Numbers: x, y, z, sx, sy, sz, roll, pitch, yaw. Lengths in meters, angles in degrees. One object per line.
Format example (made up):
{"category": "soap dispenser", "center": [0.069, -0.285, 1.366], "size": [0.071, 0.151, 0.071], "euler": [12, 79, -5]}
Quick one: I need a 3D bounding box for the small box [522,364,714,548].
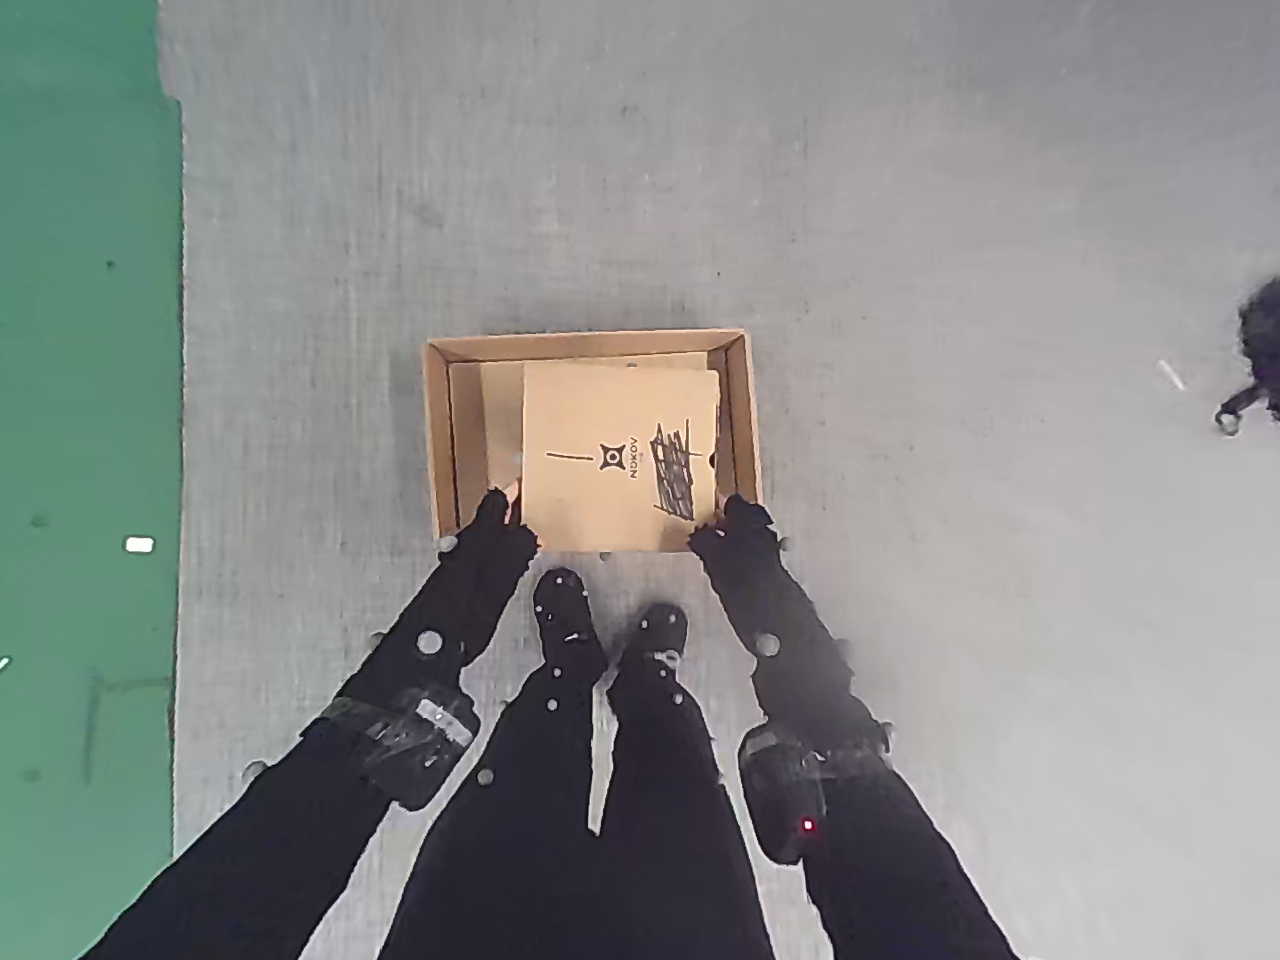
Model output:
{"category": "small box", "center": [-0.028, -0.020, 0.570], "size": [0.179, 0.176, 0.168], "euler": [0, 89, -7]}
